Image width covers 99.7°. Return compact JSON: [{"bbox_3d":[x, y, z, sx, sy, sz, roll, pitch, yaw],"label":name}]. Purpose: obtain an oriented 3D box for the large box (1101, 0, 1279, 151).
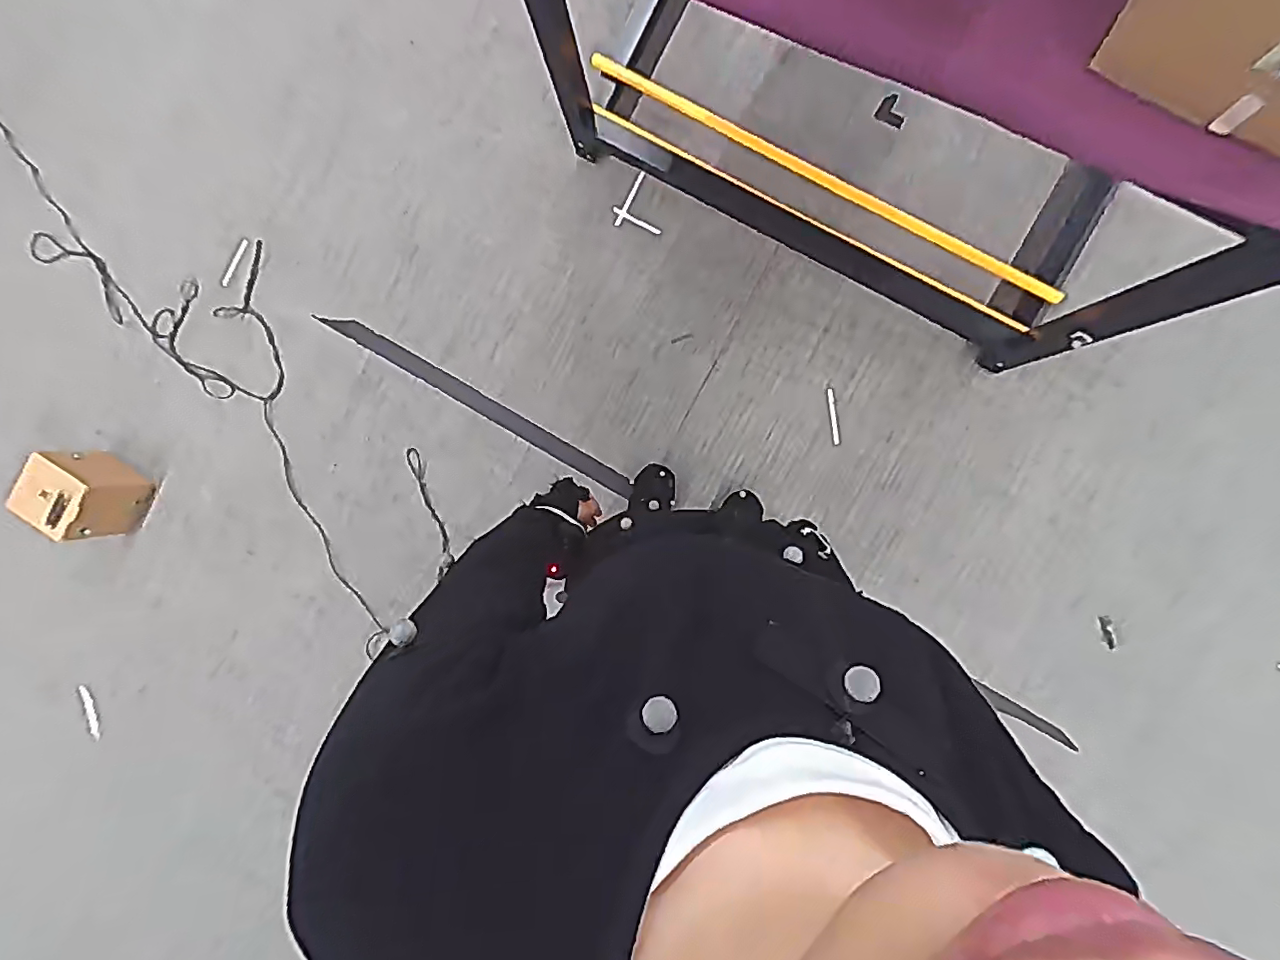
[{"bbox_3d":[0.712,-0.557,0.433,0.320,0.320,0.408,28,92,3],"label":"large box"}]
